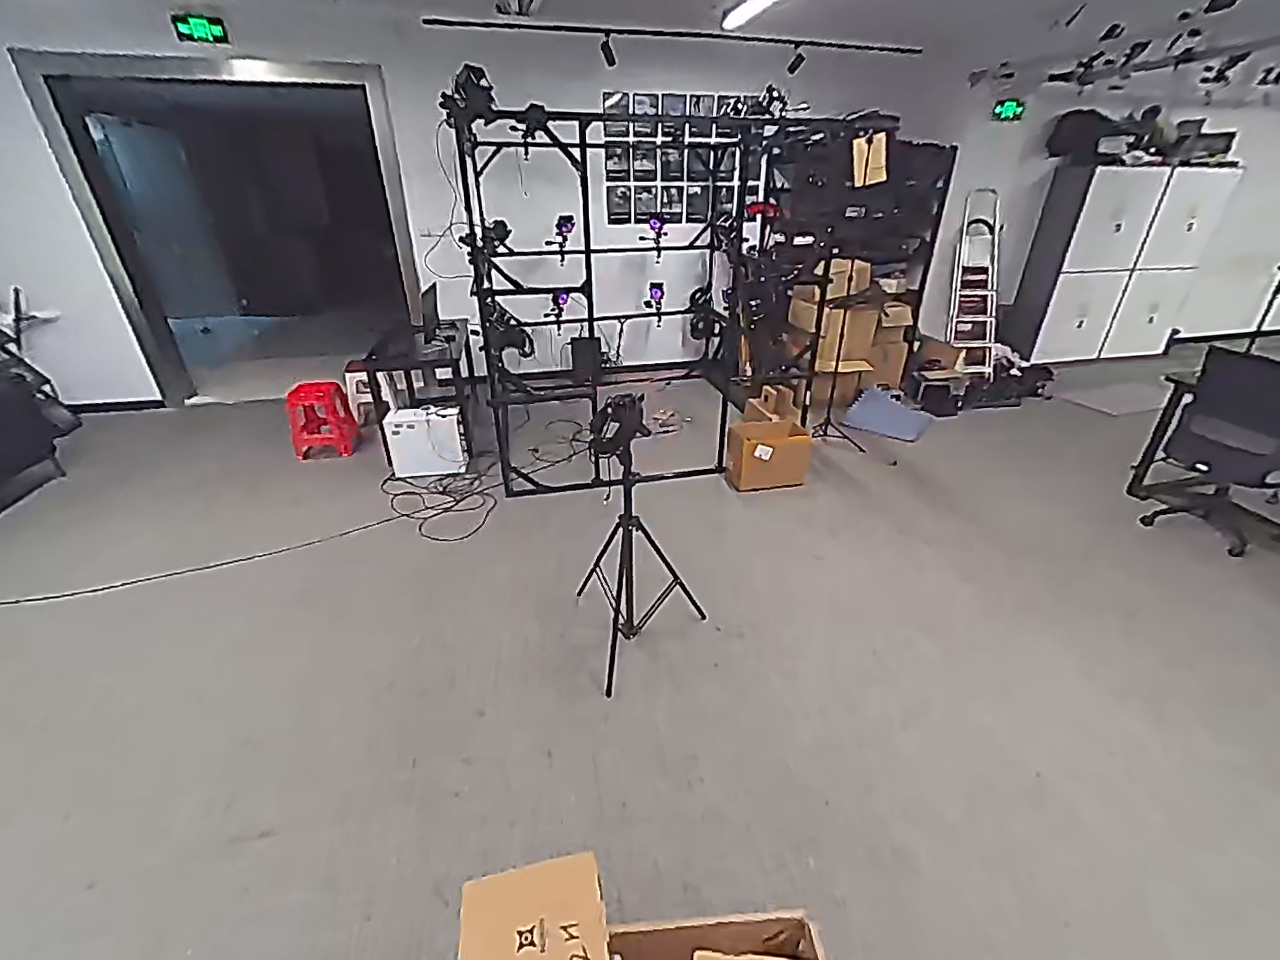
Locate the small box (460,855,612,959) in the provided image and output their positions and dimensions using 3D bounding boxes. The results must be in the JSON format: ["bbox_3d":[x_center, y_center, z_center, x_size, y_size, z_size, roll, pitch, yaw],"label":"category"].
[{"bbox_3d":[-0.124,0.622,0.679,0.179,0.176,0.168,-6,28,-11],"label":"small box"}]
